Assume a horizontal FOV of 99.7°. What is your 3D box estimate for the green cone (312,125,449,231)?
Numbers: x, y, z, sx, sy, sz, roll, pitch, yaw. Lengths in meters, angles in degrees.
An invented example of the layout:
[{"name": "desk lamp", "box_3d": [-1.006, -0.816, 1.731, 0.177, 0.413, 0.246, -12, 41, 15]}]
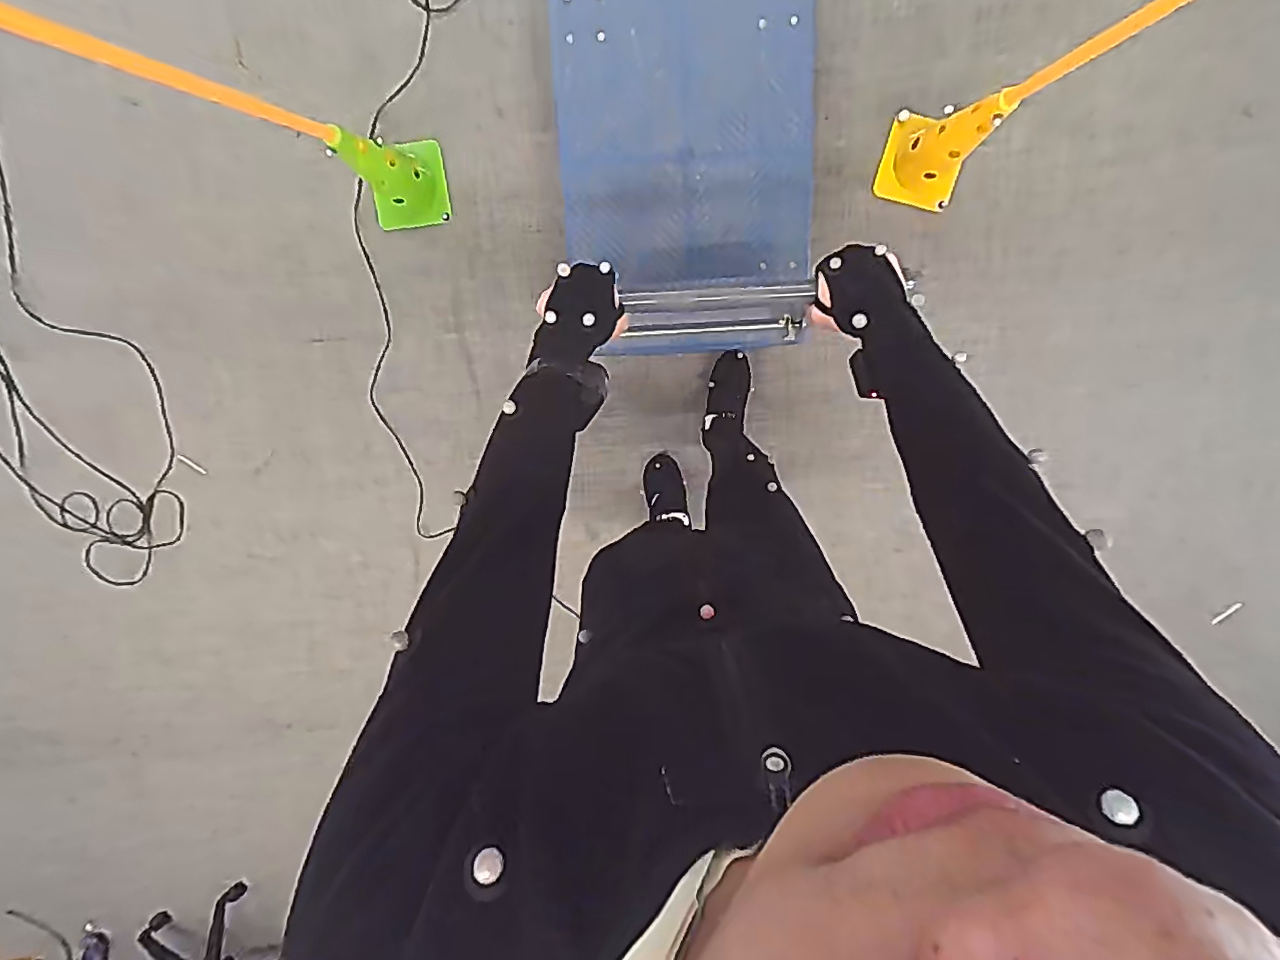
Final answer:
[{"name": "green cone", "box_3d": [-0.618, -0.730, 1.246, 0.202, 0.368, 0.200, -6, 102, 5]}]
